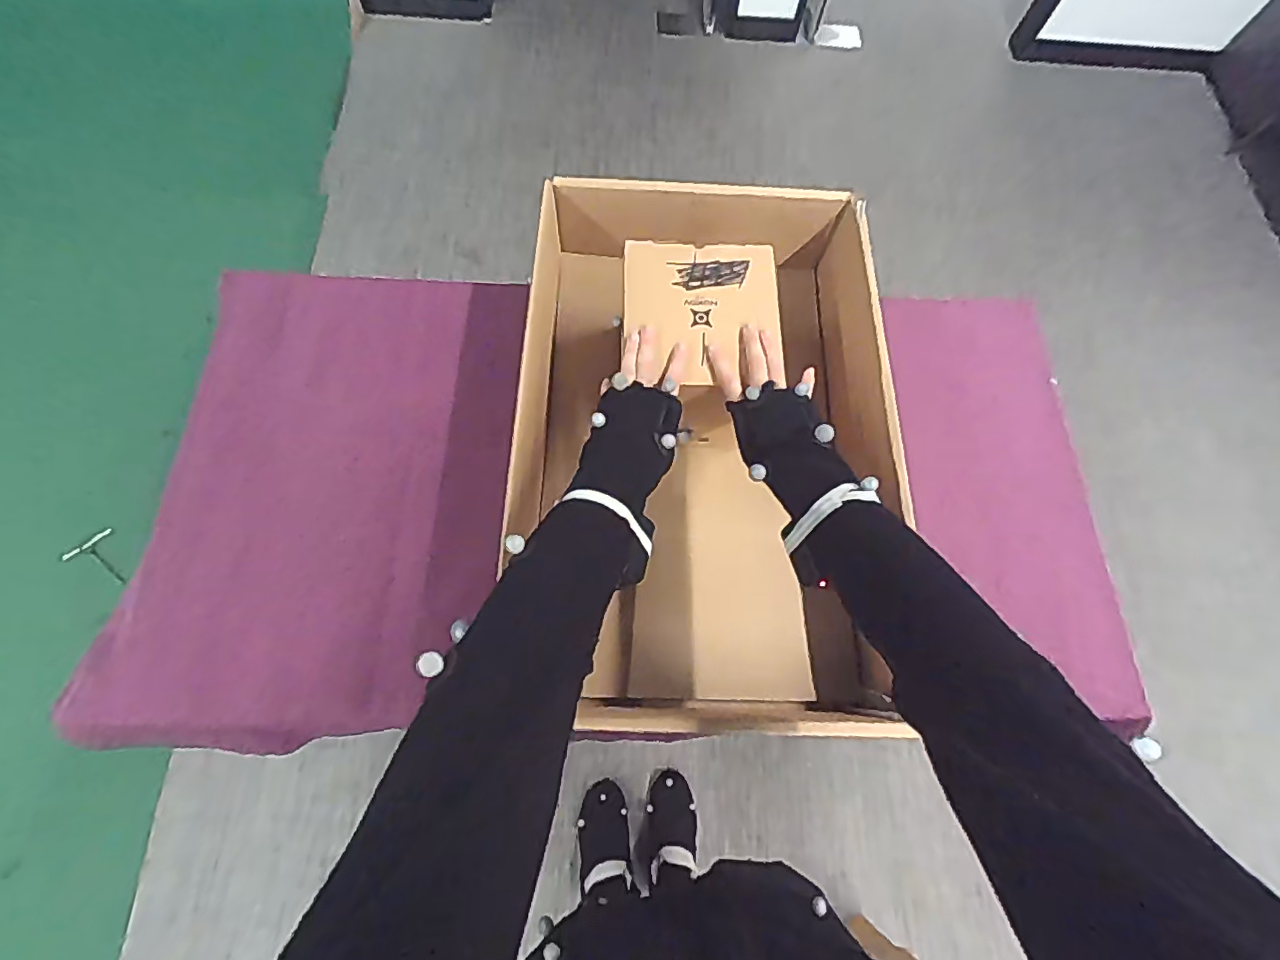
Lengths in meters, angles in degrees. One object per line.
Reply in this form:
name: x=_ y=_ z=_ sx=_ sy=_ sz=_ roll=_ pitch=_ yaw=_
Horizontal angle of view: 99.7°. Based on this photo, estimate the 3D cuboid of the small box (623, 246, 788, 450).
small box: x=0.065 y=-0.147 z=0.644 sx=0.168 sy=0.176 sz=0.179 roll=0 pitch=73 yaw=-2

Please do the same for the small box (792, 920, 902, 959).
small box: x=0.415 y=1.011 z=1.072 sx=0.179 sy=0.176 sz=0.168 roll=-3 pitch=70 yaw=-5
